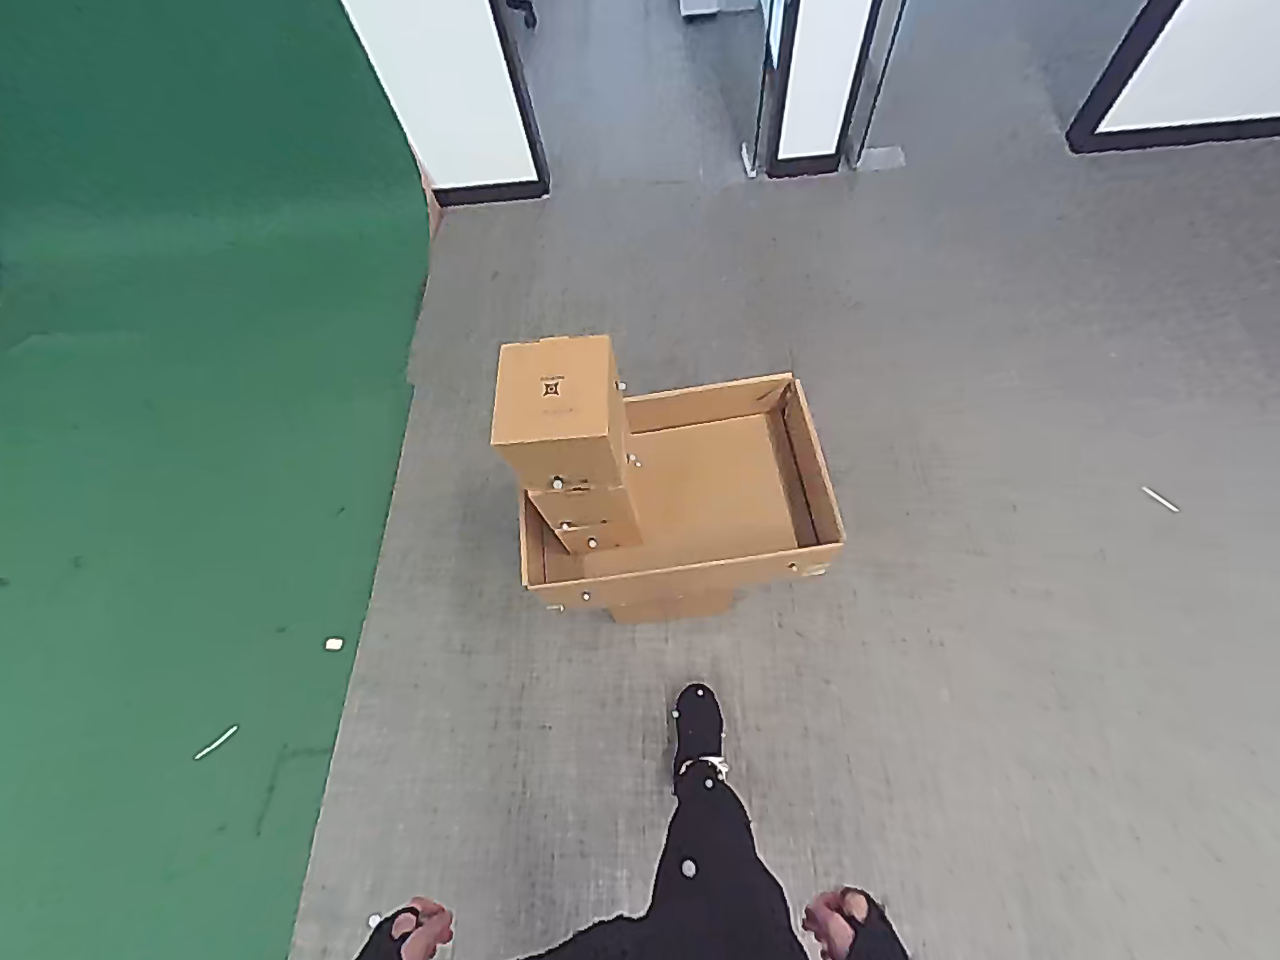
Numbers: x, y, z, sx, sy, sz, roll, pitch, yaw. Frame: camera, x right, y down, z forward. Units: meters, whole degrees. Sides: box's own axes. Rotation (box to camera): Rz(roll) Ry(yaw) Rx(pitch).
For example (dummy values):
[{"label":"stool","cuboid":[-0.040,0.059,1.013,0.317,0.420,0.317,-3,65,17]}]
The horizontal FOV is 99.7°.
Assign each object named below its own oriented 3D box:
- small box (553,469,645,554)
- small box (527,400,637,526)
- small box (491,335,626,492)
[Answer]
[{"label":"small box","cuboid":[-0.083,0.048,1.122,0.168,0.176,0.179,-8,64,2]},{"label":"small box","cuboid":[-0.096,-0.023,0.975,0.168,0.176,0.179,-4,63,4]},{"label":"small box","cuboid":[-0.114,-0.097,0.830,0.168,0.176,0.179,-3,65,5]}]
